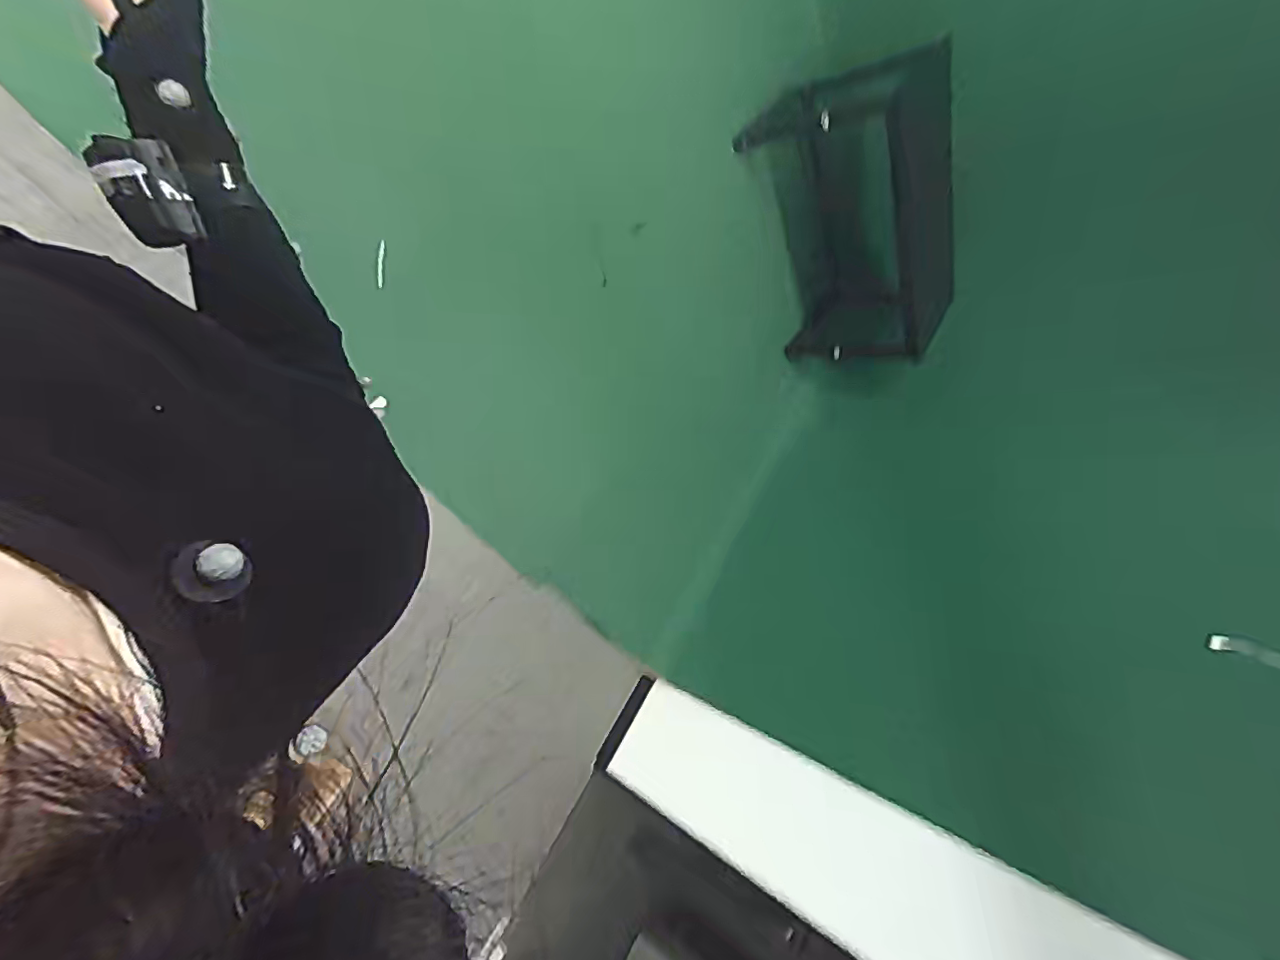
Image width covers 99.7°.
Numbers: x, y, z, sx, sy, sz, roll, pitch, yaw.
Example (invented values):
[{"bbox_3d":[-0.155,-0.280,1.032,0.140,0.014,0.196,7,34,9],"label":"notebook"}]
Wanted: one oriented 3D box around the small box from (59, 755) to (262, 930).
[{"bbox_3d":[-0.773,0.580,0.877,0.168,0.176,0.179,-56,135,-22],"label":"small box"}]
